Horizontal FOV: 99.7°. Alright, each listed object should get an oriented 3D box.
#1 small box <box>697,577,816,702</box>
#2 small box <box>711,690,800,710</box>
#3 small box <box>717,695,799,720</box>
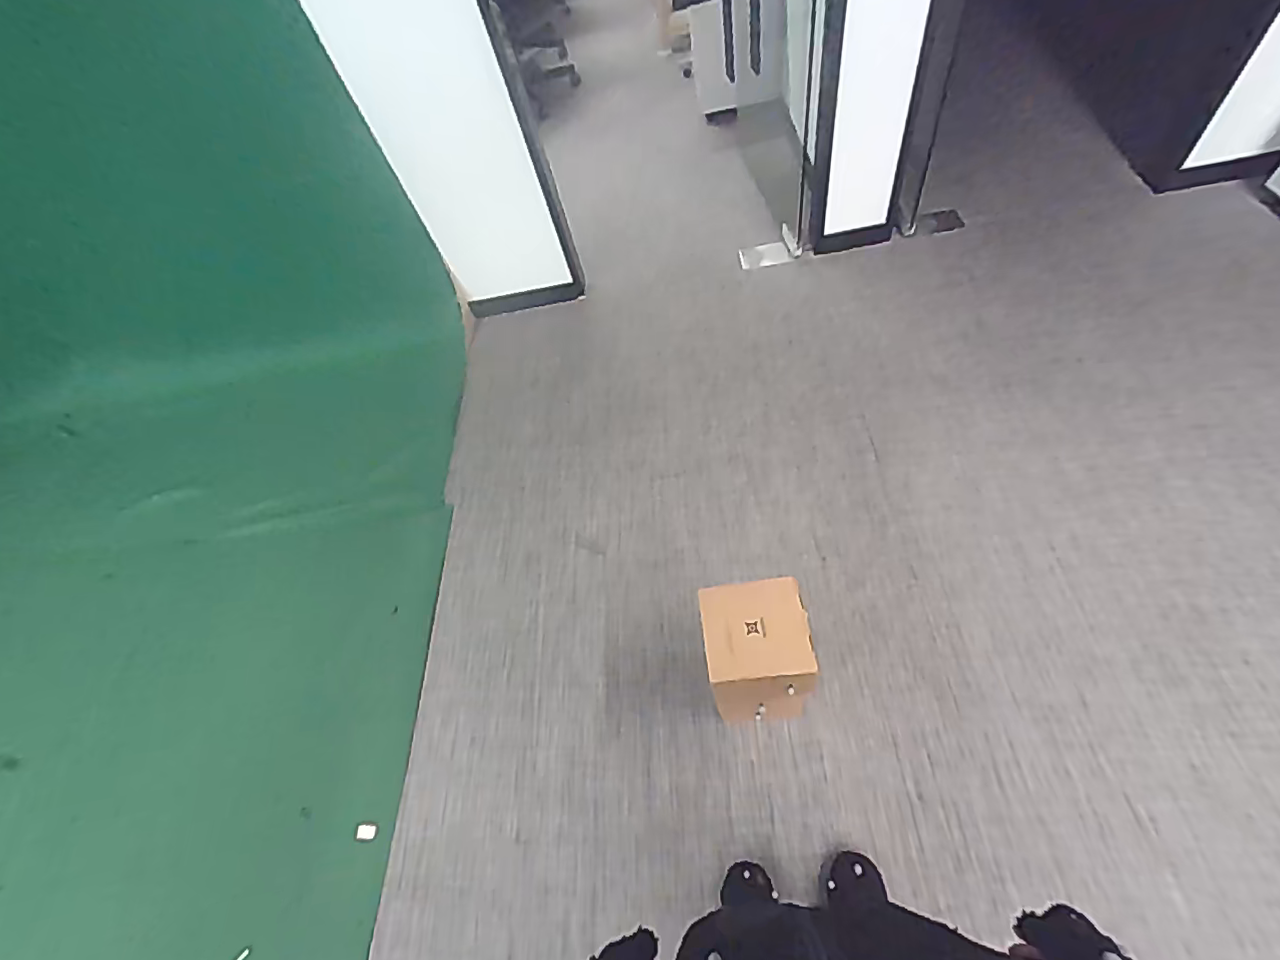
[{"bbox_3d":[0.206,0.293,0.978,0.179,0.176,0.168,-10,55,8],"label":"small box"},{"bbox_3d":[0.230,0.370,1.121,0.179,0.176,0.168,-9,56,6],"label":"small box"},{"bbox_3d":[0.263,0.454,1.257,0.179,0.176,0.168,-8,56,9],"label":"small box"}]
